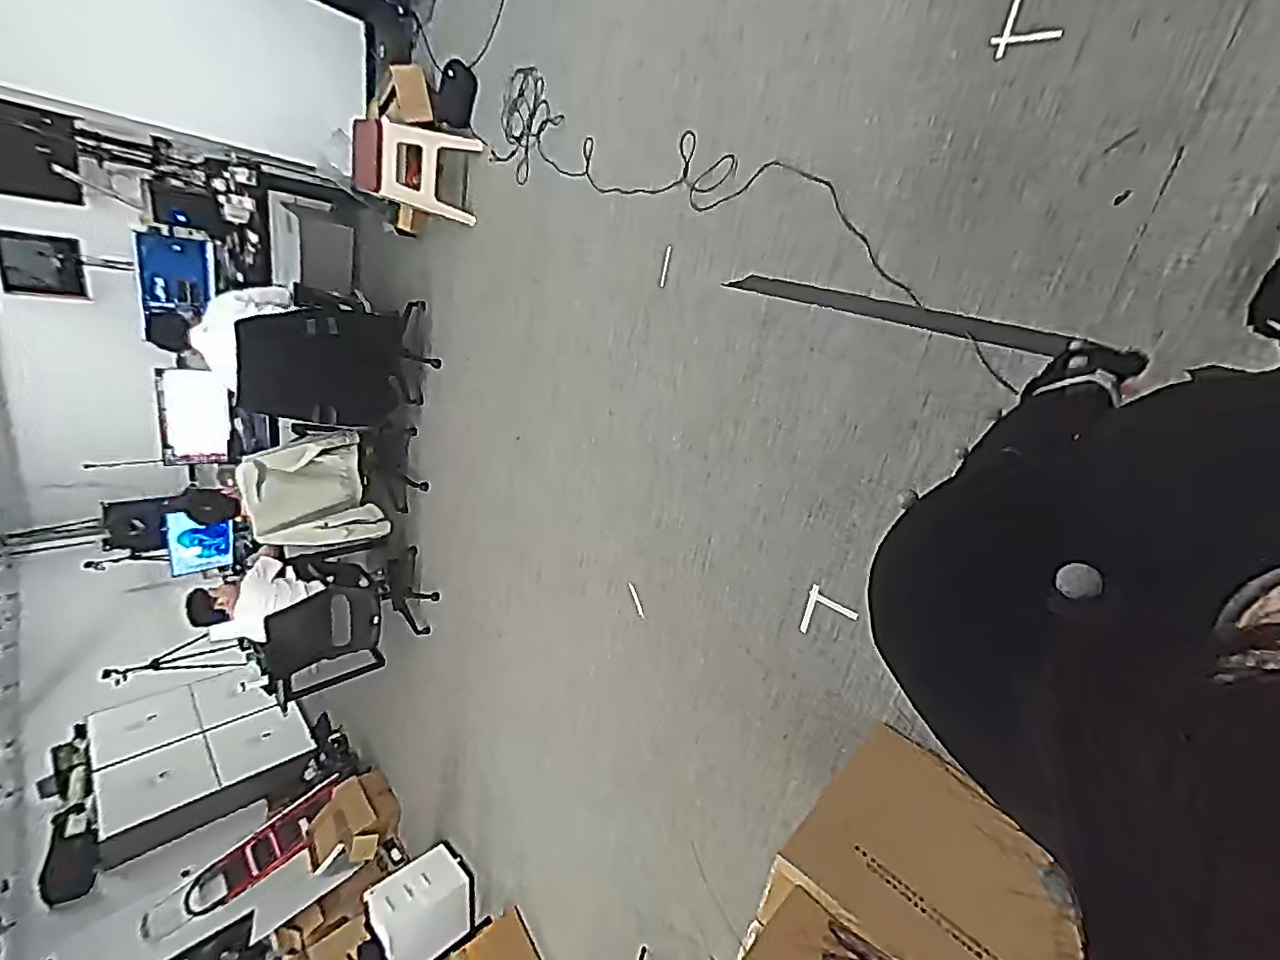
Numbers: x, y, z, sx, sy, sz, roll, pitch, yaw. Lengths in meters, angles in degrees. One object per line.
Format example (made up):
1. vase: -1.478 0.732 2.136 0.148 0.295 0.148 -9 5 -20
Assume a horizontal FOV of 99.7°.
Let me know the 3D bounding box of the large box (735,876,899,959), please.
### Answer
1. large box: 0.358 1.053 0.961 0.408 0.320 0.320 26 114 40
